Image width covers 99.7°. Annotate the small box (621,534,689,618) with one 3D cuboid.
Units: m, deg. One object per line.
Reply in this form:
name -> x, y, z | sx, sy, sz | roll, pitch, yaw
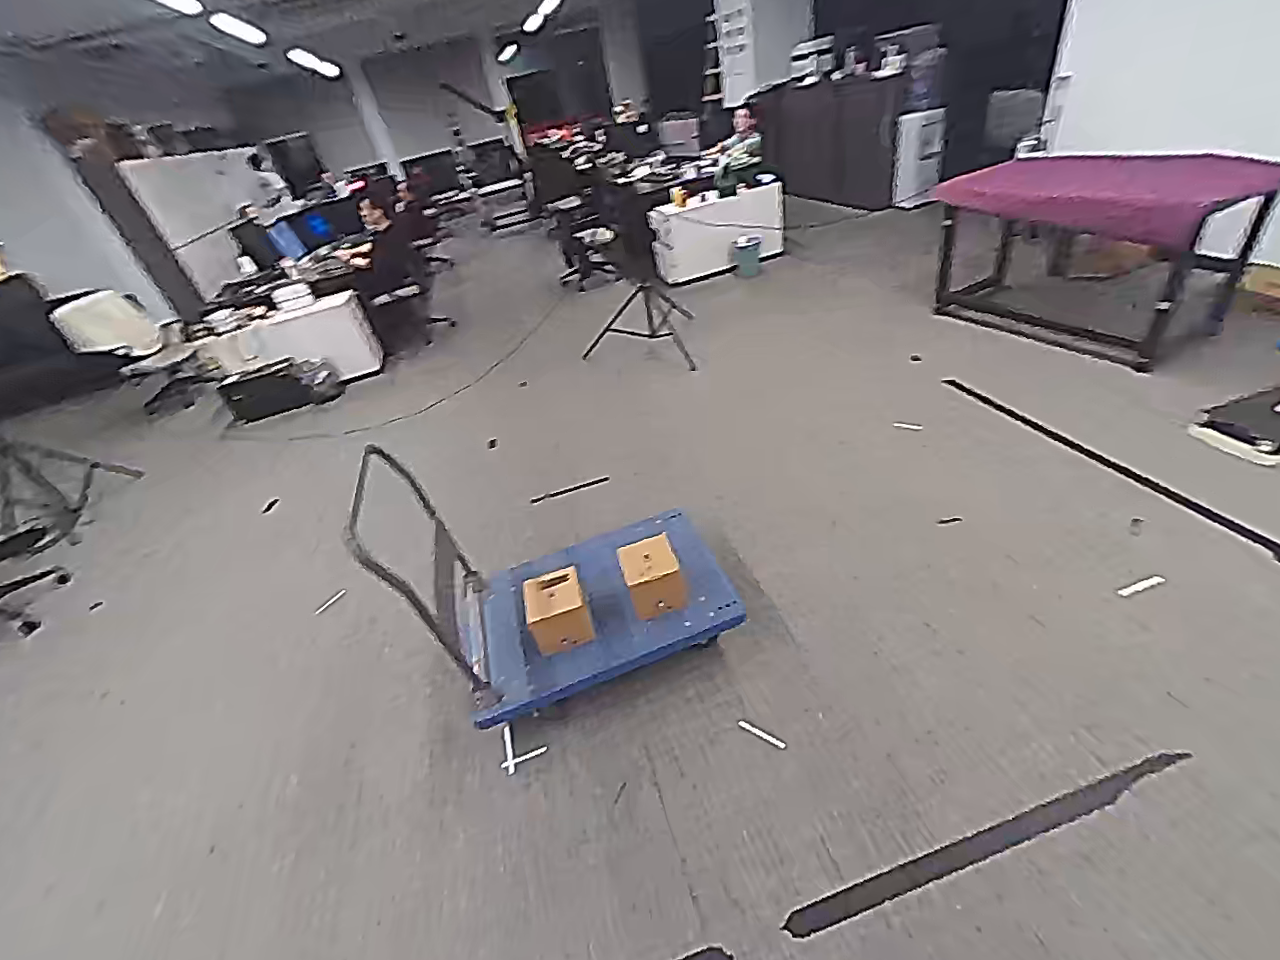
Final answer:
small box -> 0.048, 0.306, 1.719 | 0.168, 0.176, 0.179 | -18, 36, -4
